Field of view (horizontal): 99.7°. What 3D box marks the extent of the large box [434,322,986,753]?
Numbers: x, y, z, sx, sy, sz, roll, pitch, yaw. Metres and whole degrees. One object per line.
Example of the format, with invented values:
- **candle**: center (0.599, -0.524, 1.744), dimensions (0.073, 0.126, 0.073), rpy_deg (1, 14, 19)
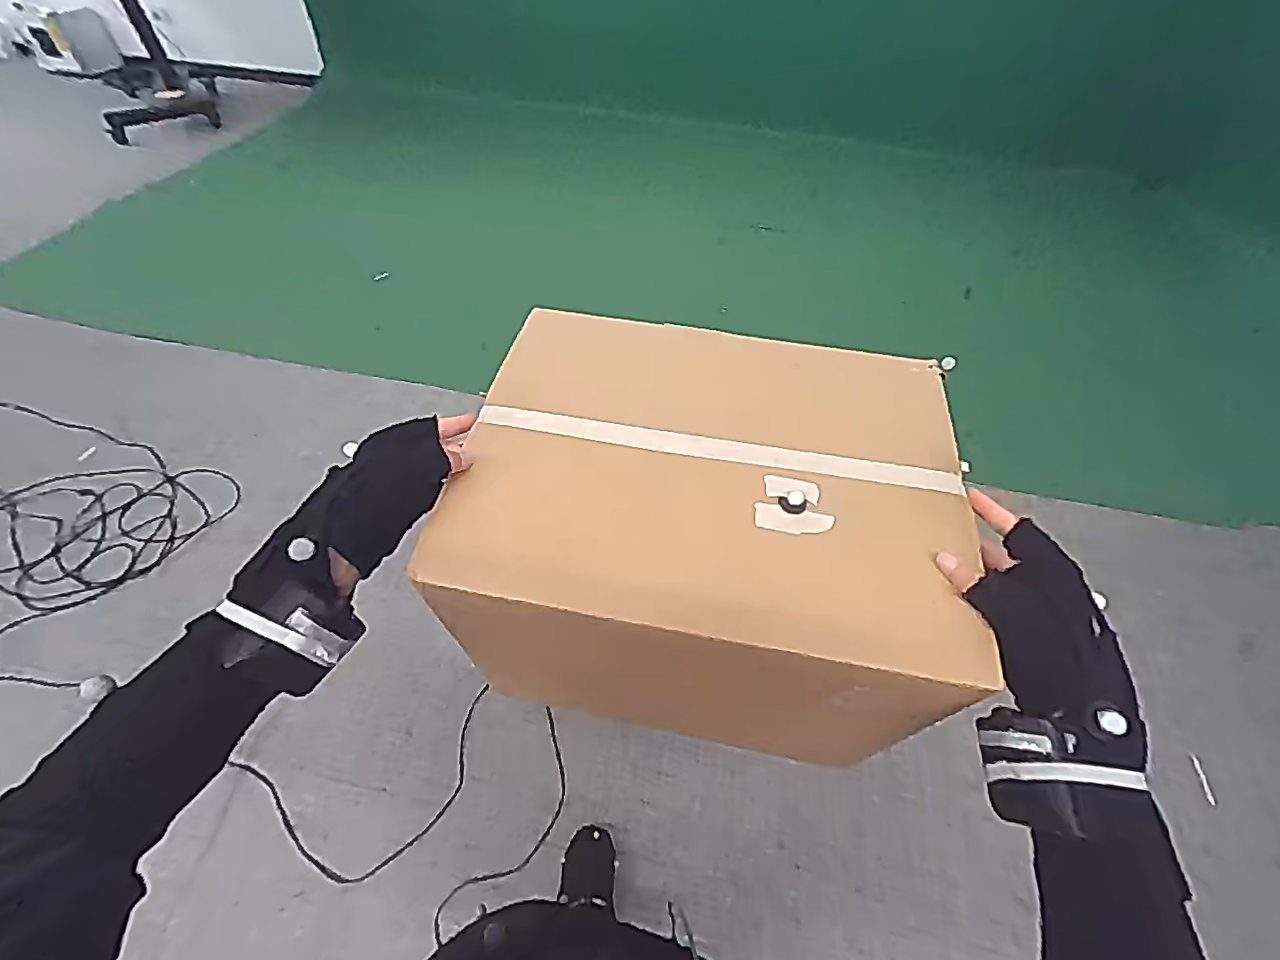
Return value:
- **large box**: center (0.060, 0.069, 0.587), dimensions (0.408, 0.320, 0.320), rpy_deg (10, 55, 5)
